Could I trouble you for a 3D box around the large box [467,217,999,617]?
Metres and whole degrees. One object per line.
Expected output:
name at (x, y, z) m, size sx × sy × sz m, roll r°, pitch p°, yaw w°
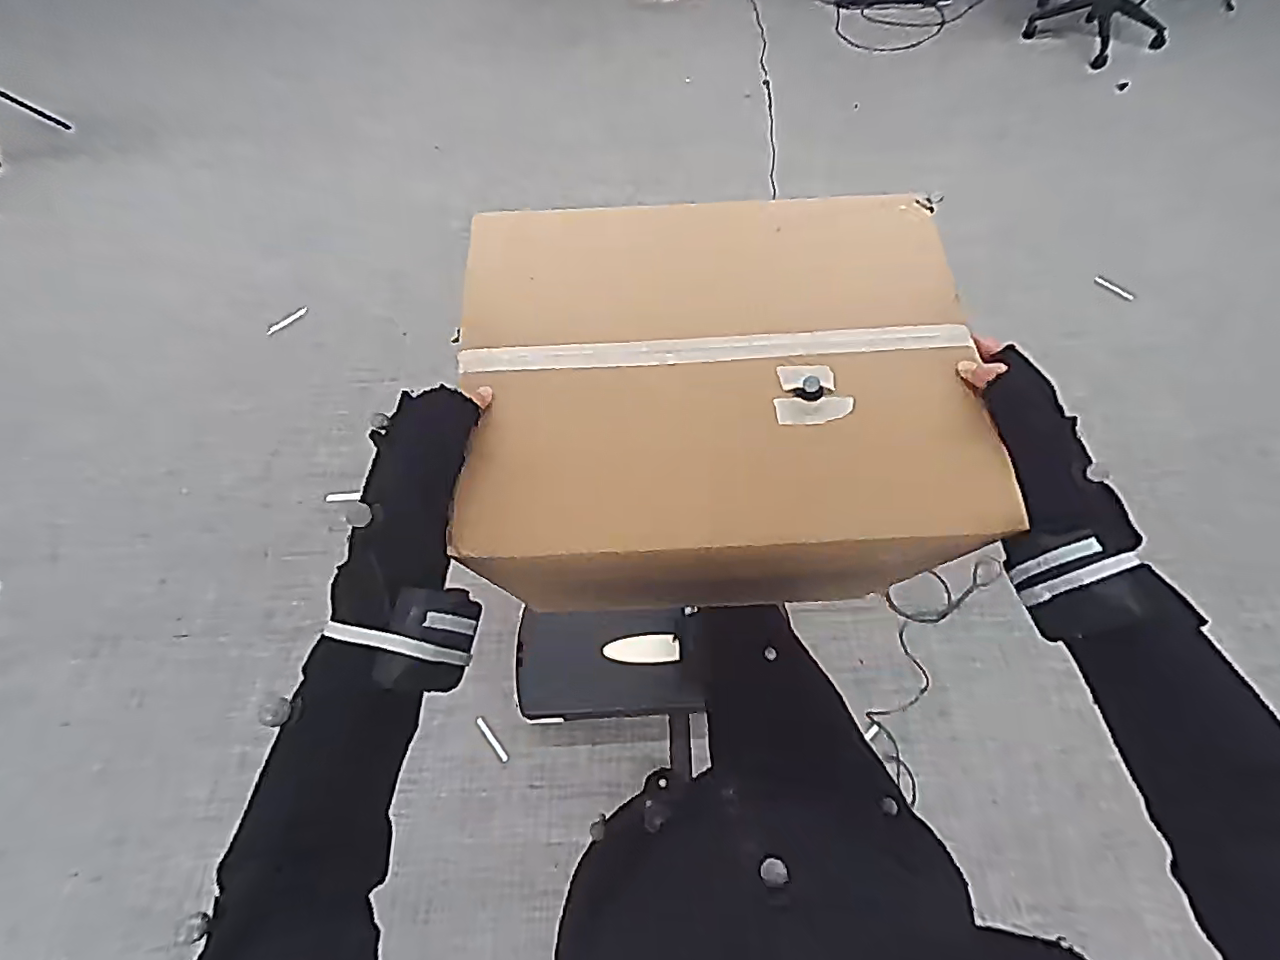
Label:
large box at (0.061, -0.040, 0.589) m, size 0.408 × 0.320 × 0.320 m, roll -3°, pitch 69°, yaw 0°
